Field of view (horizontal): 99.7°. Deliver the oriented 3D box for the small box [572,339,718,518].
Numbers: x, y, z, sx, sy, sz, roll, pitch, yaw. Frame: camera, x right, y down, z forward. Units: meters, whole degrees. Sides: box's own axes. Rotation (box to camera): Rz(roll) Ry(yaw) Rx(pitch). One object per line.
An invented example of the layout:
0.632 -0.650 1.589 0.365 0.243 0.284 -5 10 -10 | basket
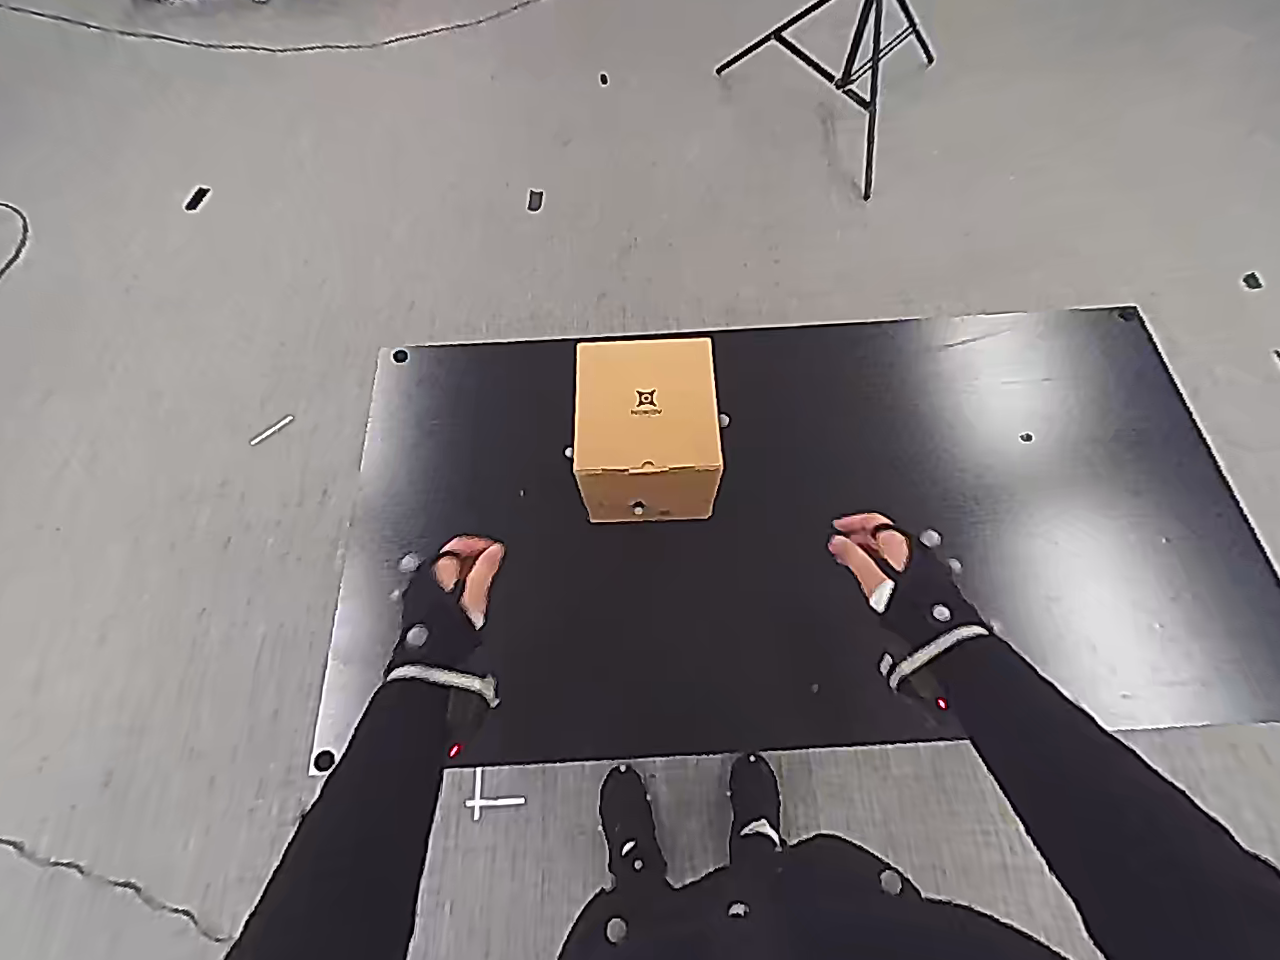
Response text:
0.004 -0.060 0.704 0.168 0.176 0.179 -2 67 1 | small box
